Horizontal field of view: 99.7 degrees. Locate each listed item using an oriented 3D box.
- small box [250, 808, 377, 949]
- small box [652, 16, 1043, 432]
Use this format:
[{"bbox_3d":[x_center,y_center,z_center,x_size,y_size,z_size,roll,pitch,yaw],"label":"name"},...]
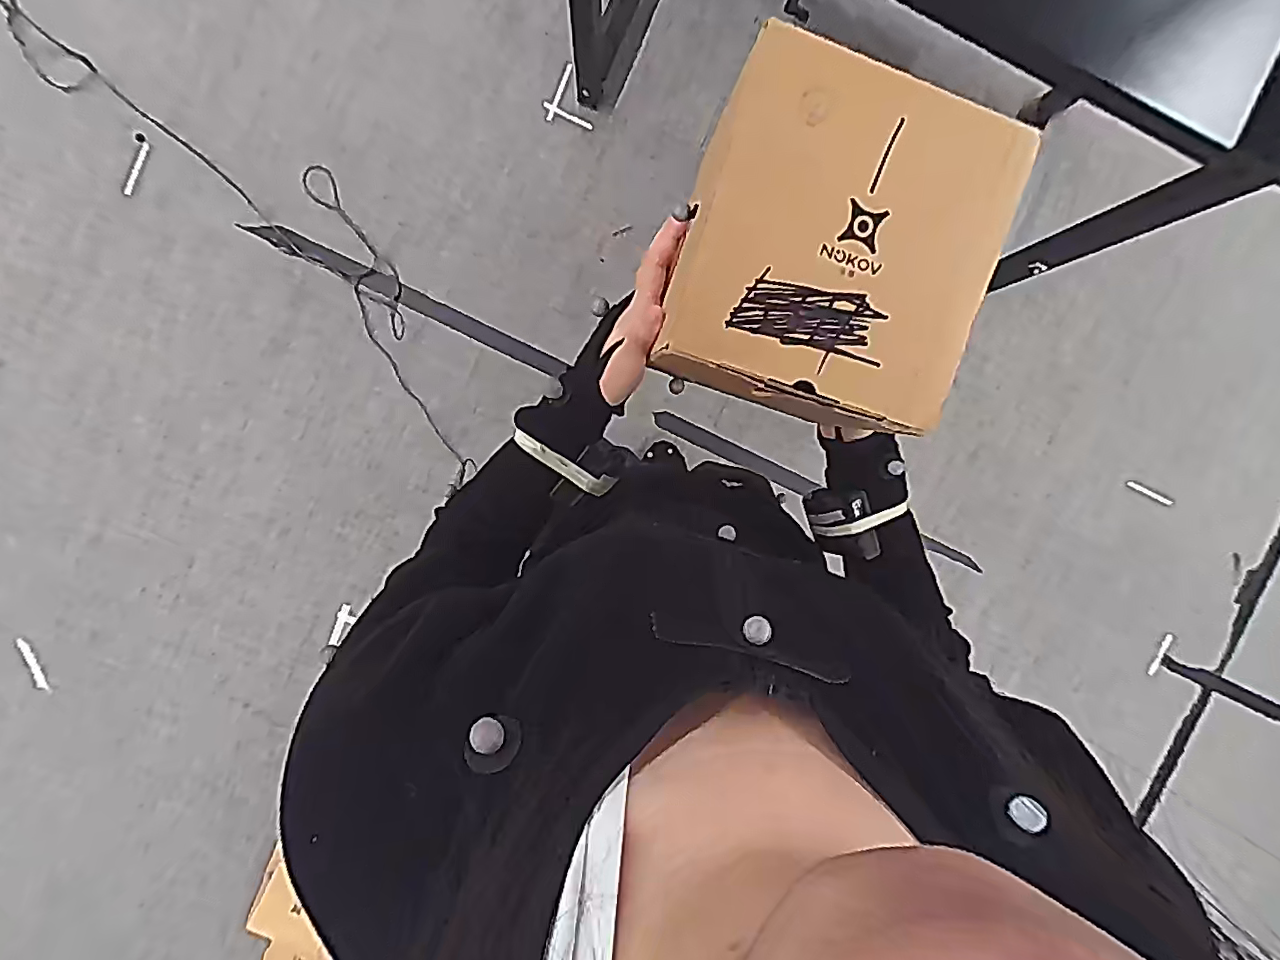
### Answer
[{"bbox_3d":[-0.756,0.930,1.276,0.168,0.176,0.179,27,92,-5],"label":"small box"},{"bbox_3d":[0.111,-0.144,0.373,0.168,0.176,0.179,17,97,-8],"label":"small box"}]
